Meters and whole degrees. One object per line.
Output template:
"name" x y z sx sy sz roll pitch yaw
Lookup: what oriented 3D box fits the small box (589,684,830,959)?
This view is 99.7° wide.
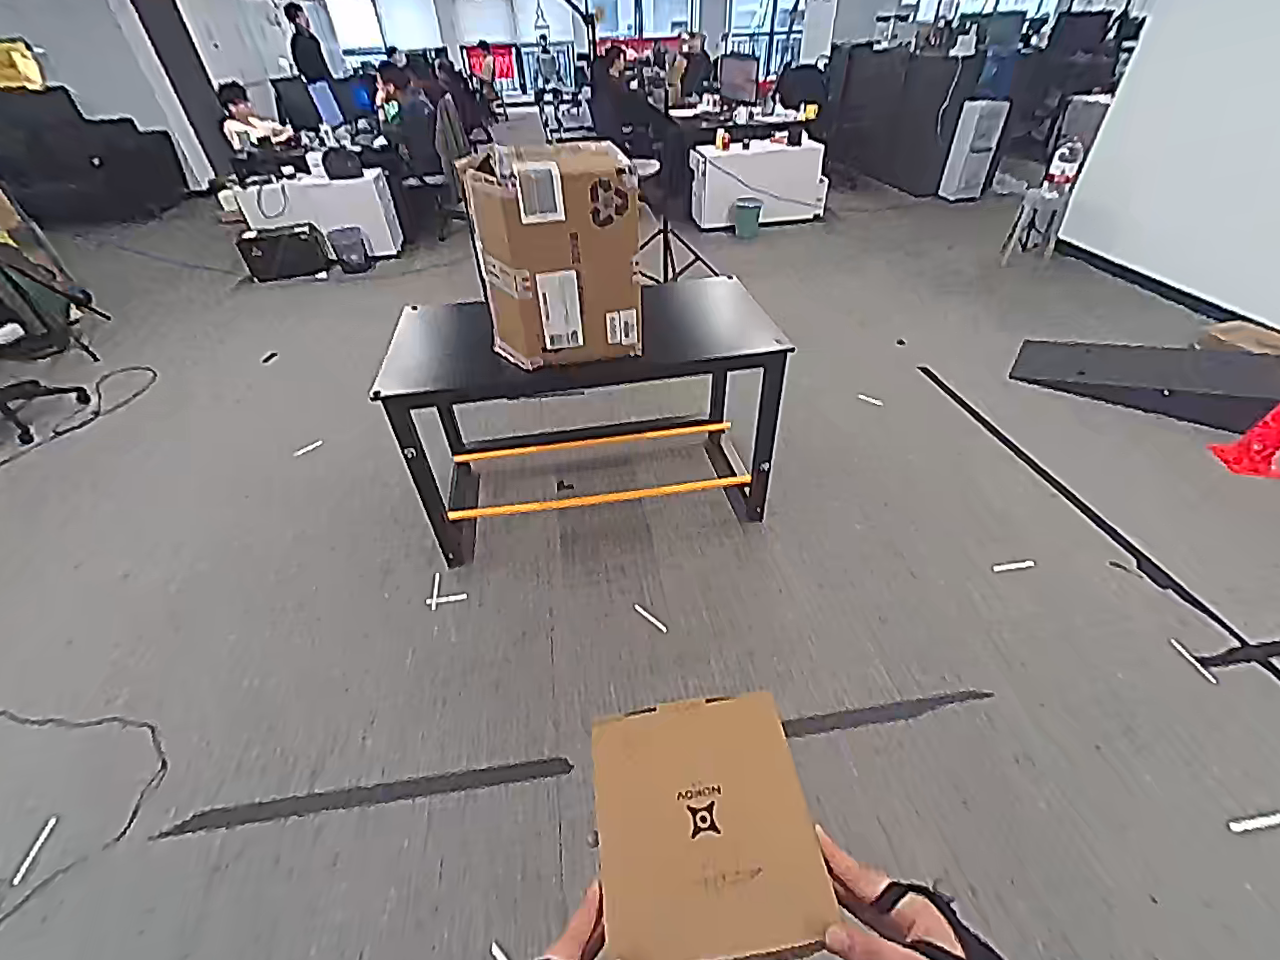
"small box" 0.047 0.313 0.488 0.168 0.176 0.179 -8 45 -2
